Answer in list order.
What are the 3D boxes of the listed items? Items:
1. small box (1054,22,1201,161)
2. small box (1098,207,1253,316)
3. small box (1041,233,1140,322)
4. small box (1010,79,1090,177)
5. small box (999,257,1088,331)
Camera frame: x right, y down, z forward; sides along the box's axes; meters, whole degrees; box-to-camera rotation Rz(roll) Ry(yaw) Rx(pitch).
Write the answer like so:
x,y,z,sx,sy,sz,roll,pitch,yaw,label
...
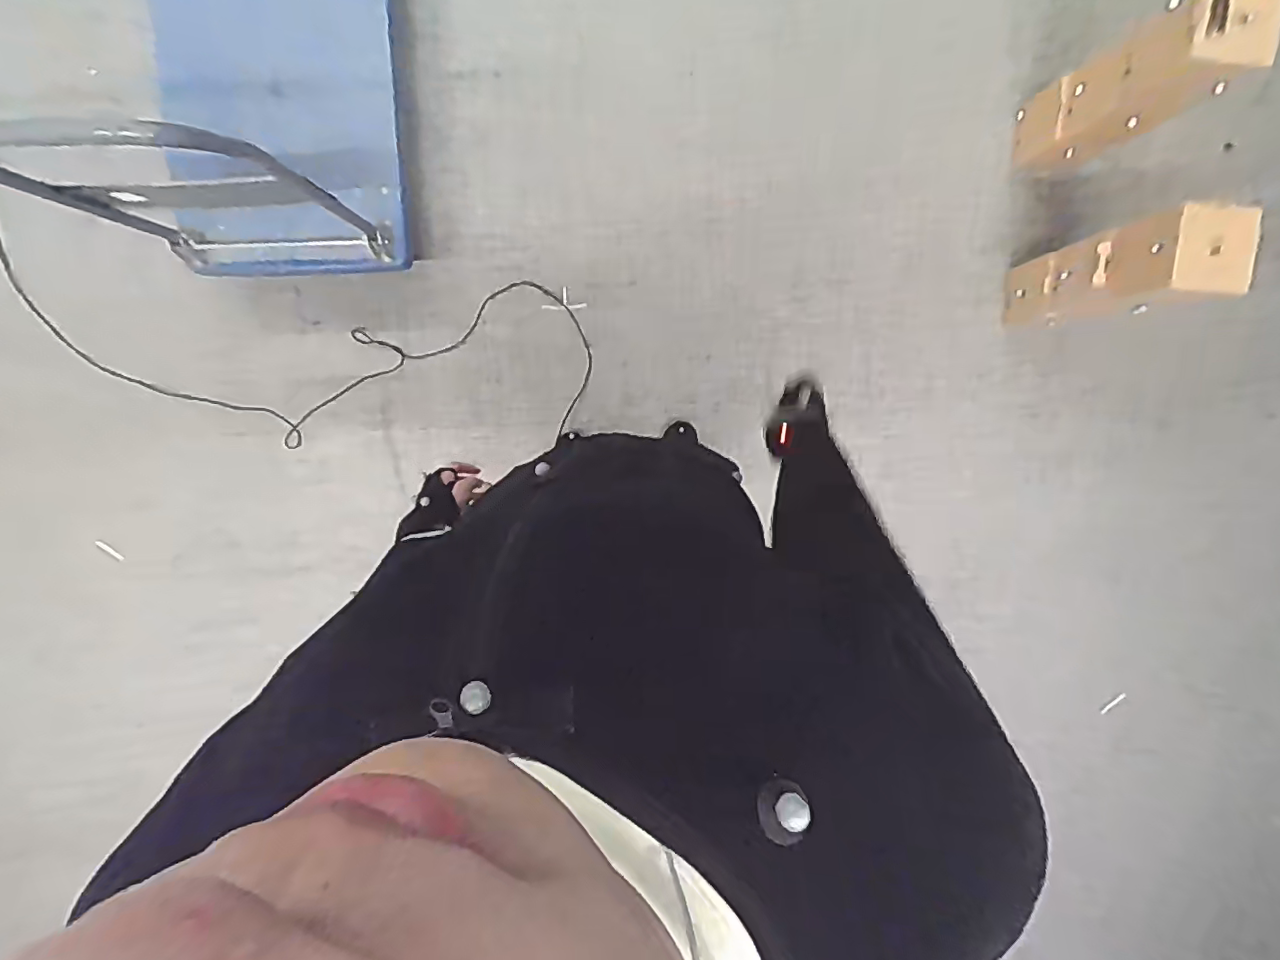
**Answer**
x,y,z,sx,sy,sz,roll,pitch,yaw,label
1.177,-0.937,1.322,0.168,0.176,0.179,36,94,-3,small box
1.170,-0.475,1.196,0.168,0.176,0.179,5,96,-1,small box
1.167,-0.499,1.358,0.179,0.176,0.168,5,95,-2,small box
1.154,-0.951,1.475,0.179,0.176,0.168,4,96,-3,small box
1.152,-0.516,1.521,0.179,0.176,0.168,1,96,-1,small box
